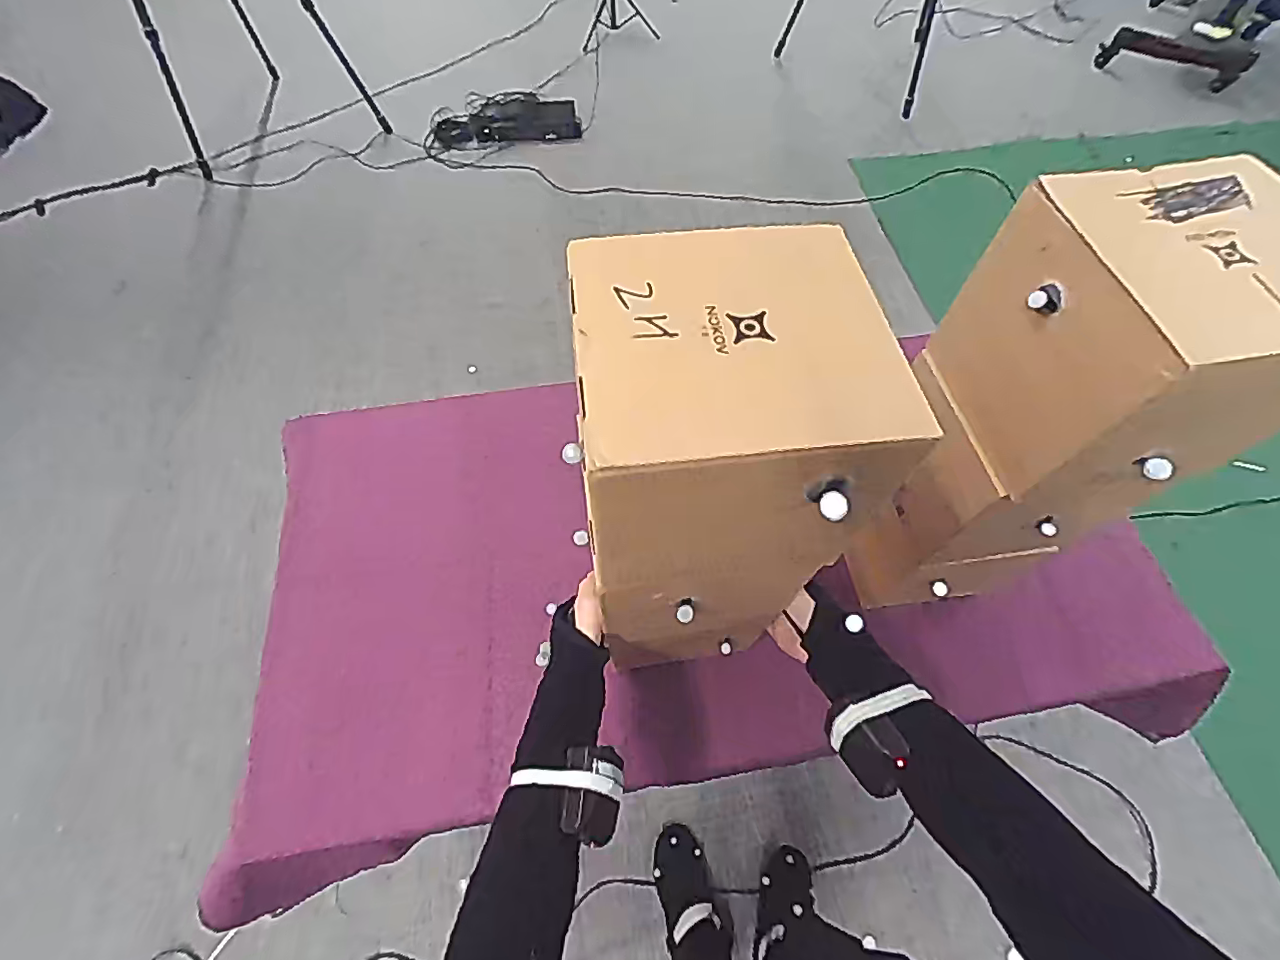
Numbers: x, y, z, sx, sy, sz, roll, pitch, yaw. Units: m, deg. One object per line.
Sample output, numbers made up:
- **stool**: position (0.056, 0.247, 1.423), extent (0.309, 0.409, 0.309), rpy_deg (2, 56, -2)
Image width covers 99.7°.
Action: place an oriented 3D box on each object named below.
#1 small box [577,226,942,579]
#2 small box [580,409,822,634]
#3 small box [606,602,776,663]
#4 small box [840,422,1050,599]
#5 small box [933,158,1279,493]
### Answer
- **small box**: position (0.052, -0.043, 0.365), extent (0.179, 0.176, 0.168), rpy_deg (-5, 60, -5)
- **small box**: position (0.043, 0.038, 0.509), extent (0.179, 0.176, 0.168), rpy_deg (-6, 61, -5)
- **small box**: position (0.043, 0.115, 0.654), extent (0.179, 0.176, 0.168), rpy_deg (-7, 61, -5)
- **small box**: position (0.368, 0.048, 0.706), extent (0.168, 0.176, 0.179), rpy_deg (-7, 60, -4)
- **small box**: position (0.366, -0.112, 0.418), extent (0.168, 0.176, 0.179), rpy_deg (-8, 61, -4)
